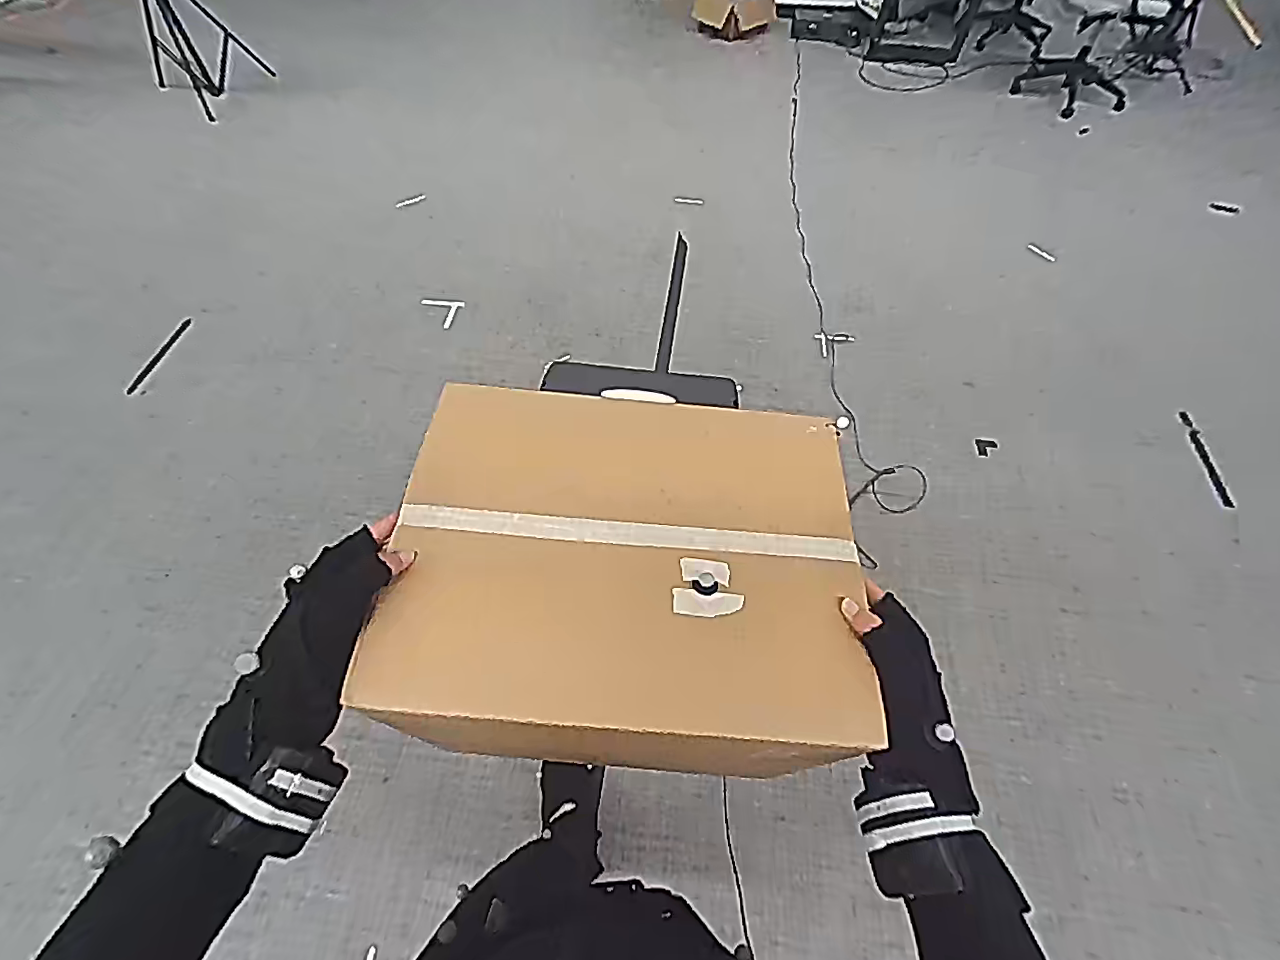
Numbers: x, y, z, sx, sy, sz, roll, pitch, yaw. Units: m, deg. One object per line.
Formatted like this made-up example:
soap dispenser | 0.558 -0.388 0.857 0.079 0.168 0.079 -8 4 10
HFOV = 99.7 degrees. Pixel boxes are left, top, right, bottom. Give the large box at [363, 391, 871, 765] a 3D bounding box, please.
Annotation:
large box | -0.019 0.128 0.620 0.408 0.320 0.320 5 57 -1
